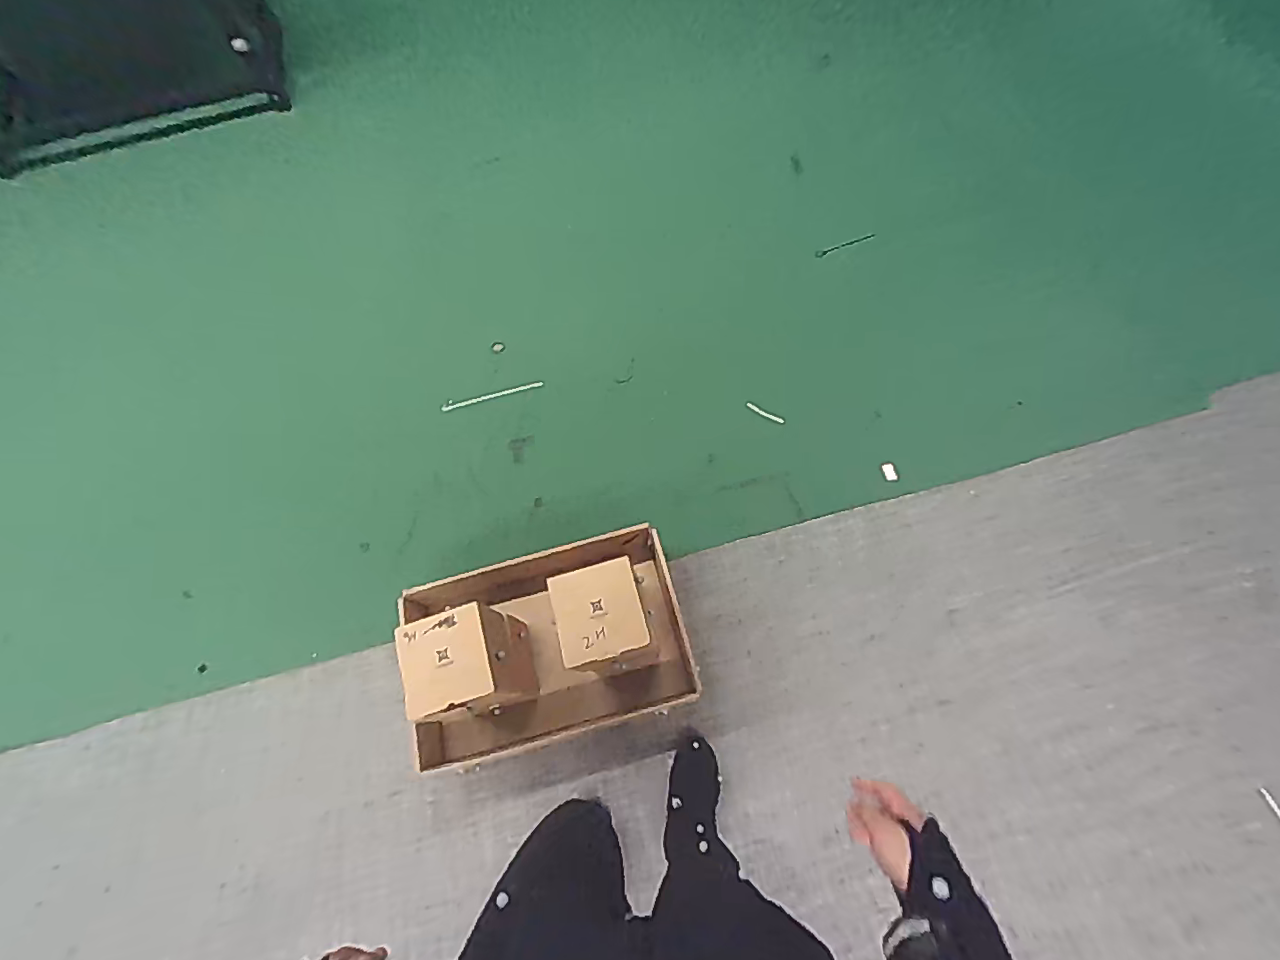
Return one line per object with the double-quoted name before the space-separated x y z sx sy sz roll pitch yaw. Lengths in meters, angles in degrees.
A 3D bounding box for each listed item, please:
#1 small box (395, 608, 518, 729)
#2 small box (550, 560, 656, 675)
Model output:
"small box" -0.353 0.369 1.065 0.168 0.176 0.179 -18 69 -3
"small box" -0.070 0.281 1.080 0.168 0.176 0.179 -16 69 -1
